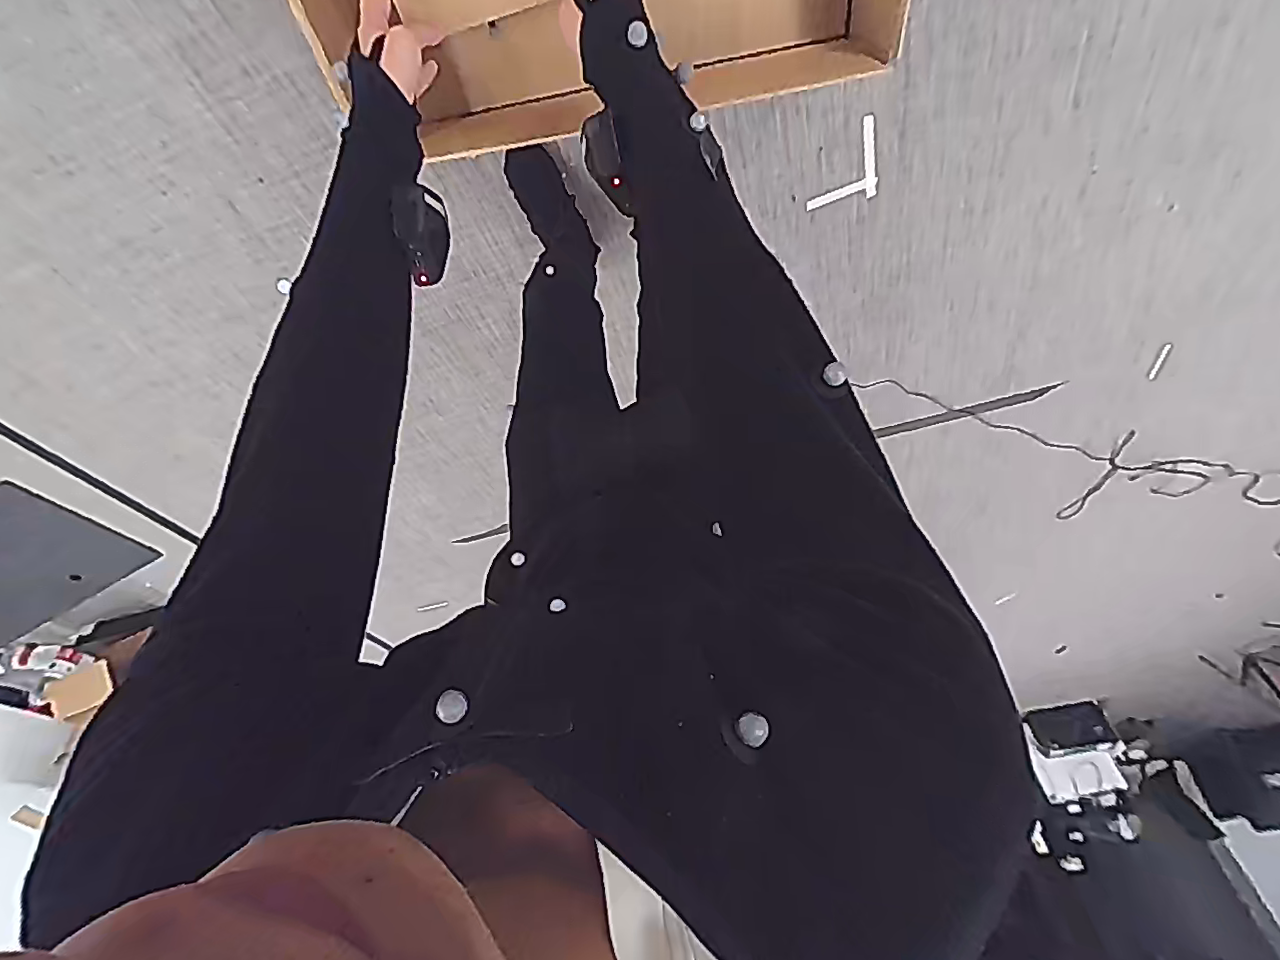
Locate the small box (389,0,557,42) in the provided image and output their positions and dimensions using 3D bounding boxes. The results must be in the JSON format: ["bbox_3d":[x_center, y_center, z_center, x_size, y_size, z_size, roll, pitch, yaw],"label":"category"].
[{"bbox_3d":[-0.163,-0.547,0.513,0.179,0.176,0.168,-13,134,5],"label":"small box"}]
